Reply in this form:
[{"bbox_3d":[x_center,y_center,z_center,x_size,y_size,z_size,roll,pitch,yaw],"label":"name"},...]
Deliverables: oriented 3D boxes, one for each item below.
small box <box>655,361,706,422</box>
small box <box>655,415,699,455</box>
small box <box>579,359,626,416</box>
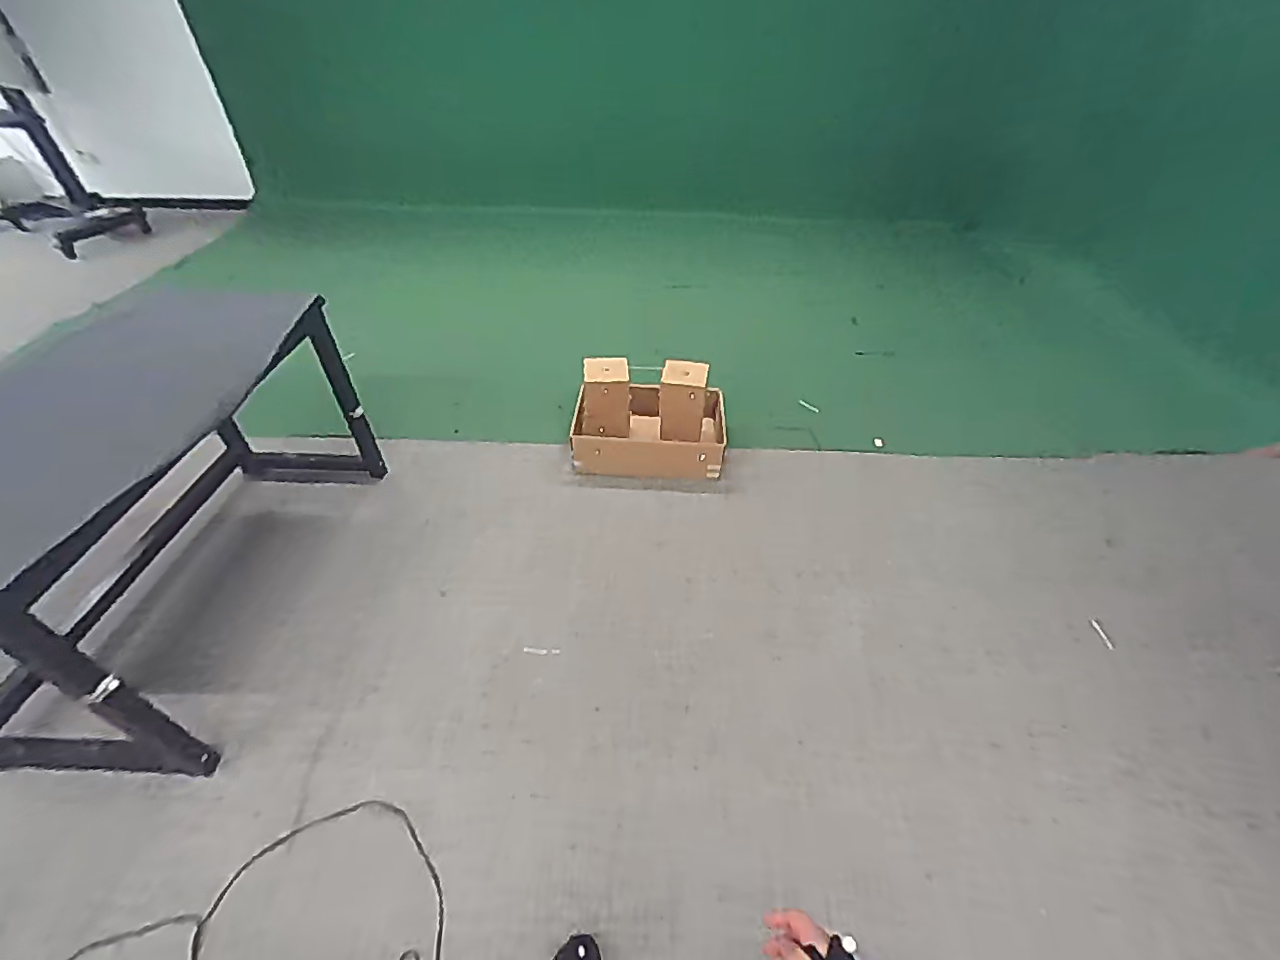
[{"bbox_3d":[0.161,-0.349,2.153,0.179,0.176,0.168,8,43,7],"label":"small box"},{"bbox_3d":[0.158,-0.232,2.269,0.168,0.176,0.179,7,45,7],"label":"small box"},{"bbox_3d":[-0.151,-0.368,2.159,0.179,0.176,0.168,-1,44,-7],"label":"small box"}]
